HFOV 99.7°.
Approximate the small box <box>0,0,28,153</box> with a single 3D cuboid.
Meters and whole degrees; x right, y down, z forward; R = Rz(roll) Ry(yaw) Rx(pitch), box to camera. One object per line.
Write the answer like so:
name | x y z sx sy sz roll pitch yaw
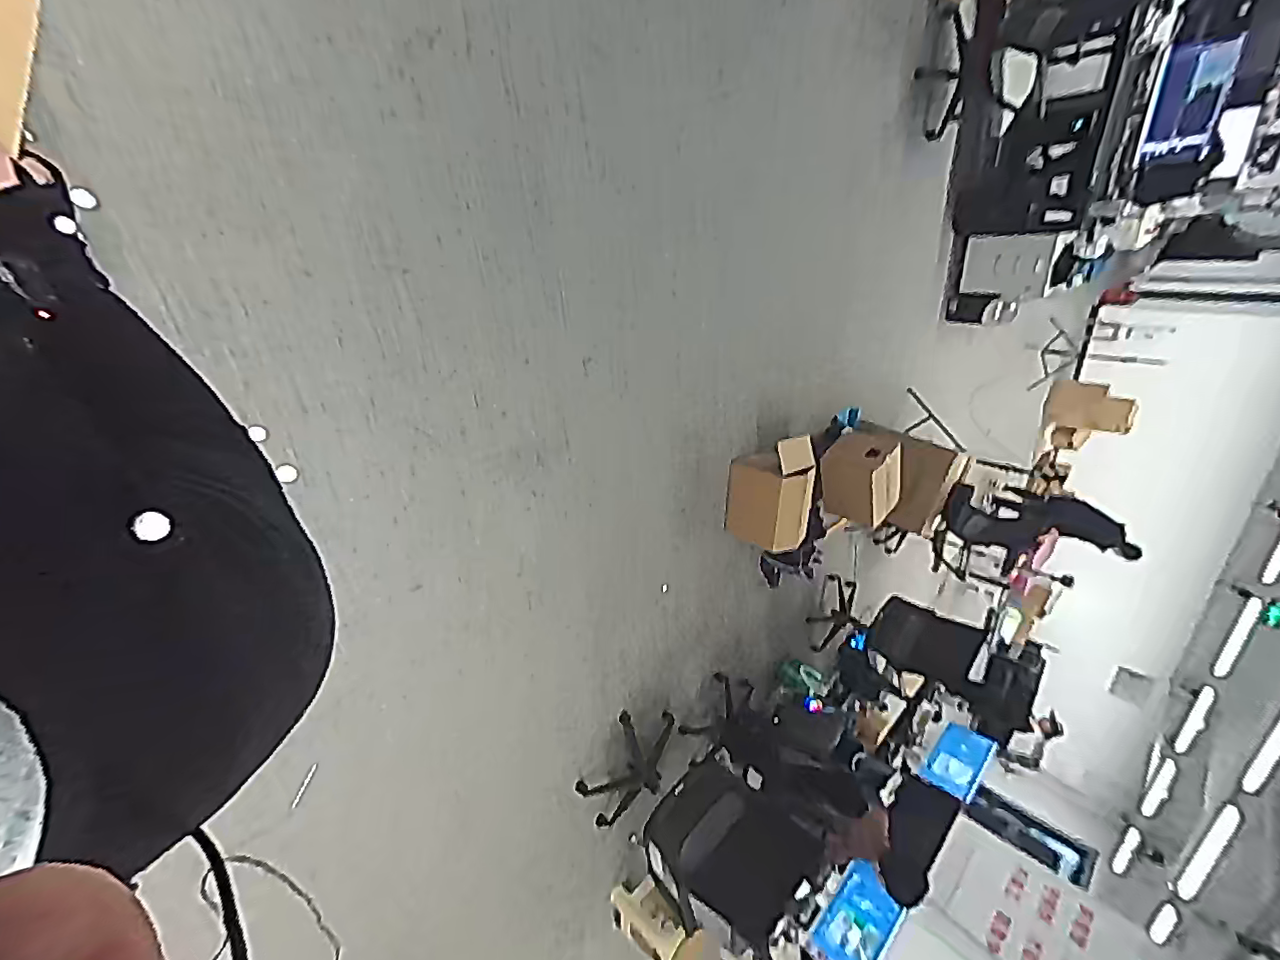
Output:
small box | -0.642 -0.339 0.435 0.168 0.176 0.179 10 79 -56
